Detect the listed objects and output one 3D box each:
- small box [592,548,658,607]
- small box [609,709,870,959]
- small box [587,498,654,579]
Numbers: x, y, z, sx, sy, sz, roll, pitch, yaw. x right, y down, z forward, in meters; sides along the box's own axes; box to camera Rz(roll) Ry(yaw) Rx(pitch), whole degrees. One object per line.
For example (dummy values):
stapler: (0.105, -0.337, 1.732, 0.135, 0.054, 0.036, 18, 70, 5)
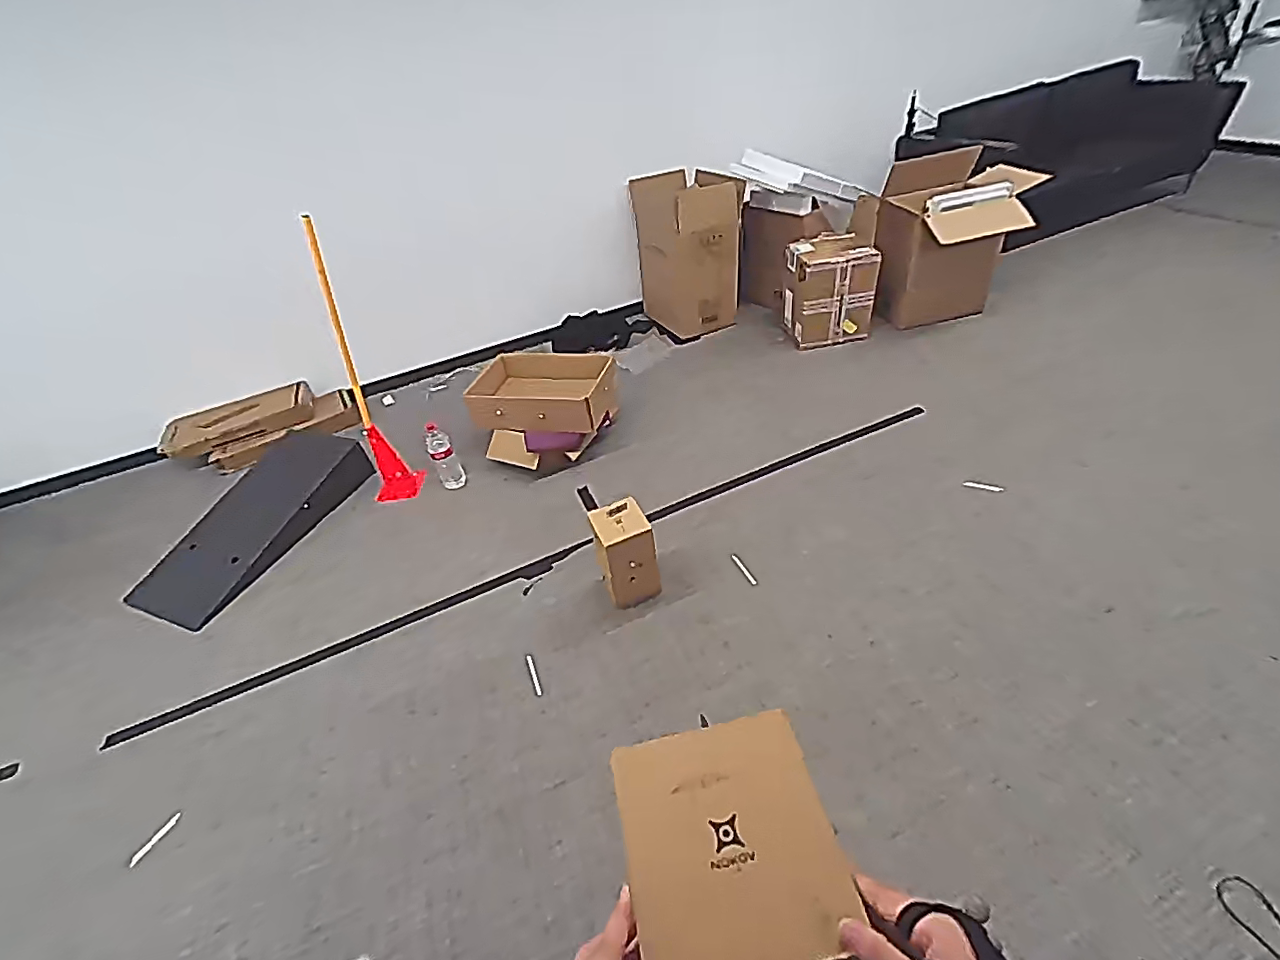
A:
small box: (-0.050, 0.317, 1.900, 0.179, 0.176, 0.168, -20, 42, -13)
small box: (0.074, 0.340, 0.484, 0.168, 0.176, 0.179, -11, 43, -6)
small box: (-0.065, 0.195, 1.791, 0.168, 0.176, 0.179, -20, 42, -13)
